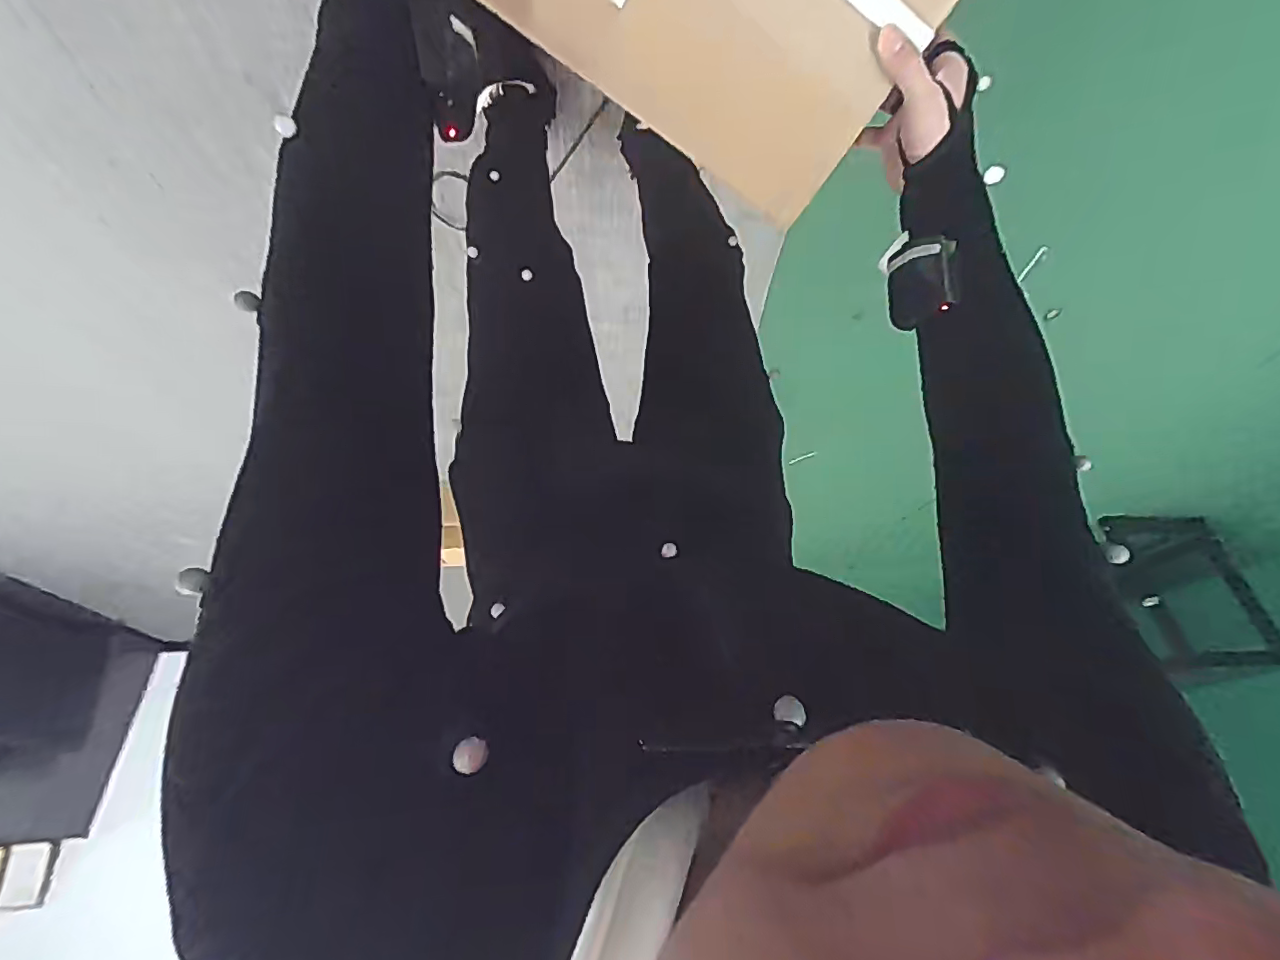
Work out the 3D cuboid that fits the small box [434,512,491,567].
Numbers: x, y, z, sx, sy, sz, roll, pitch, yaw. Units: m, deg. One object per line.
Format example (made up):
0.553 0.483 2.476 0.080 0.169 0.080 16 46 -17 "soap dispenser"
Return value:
-0.720 0.242 2.216 0.179 0.176 0.168 -3 148 -1 "small box"
